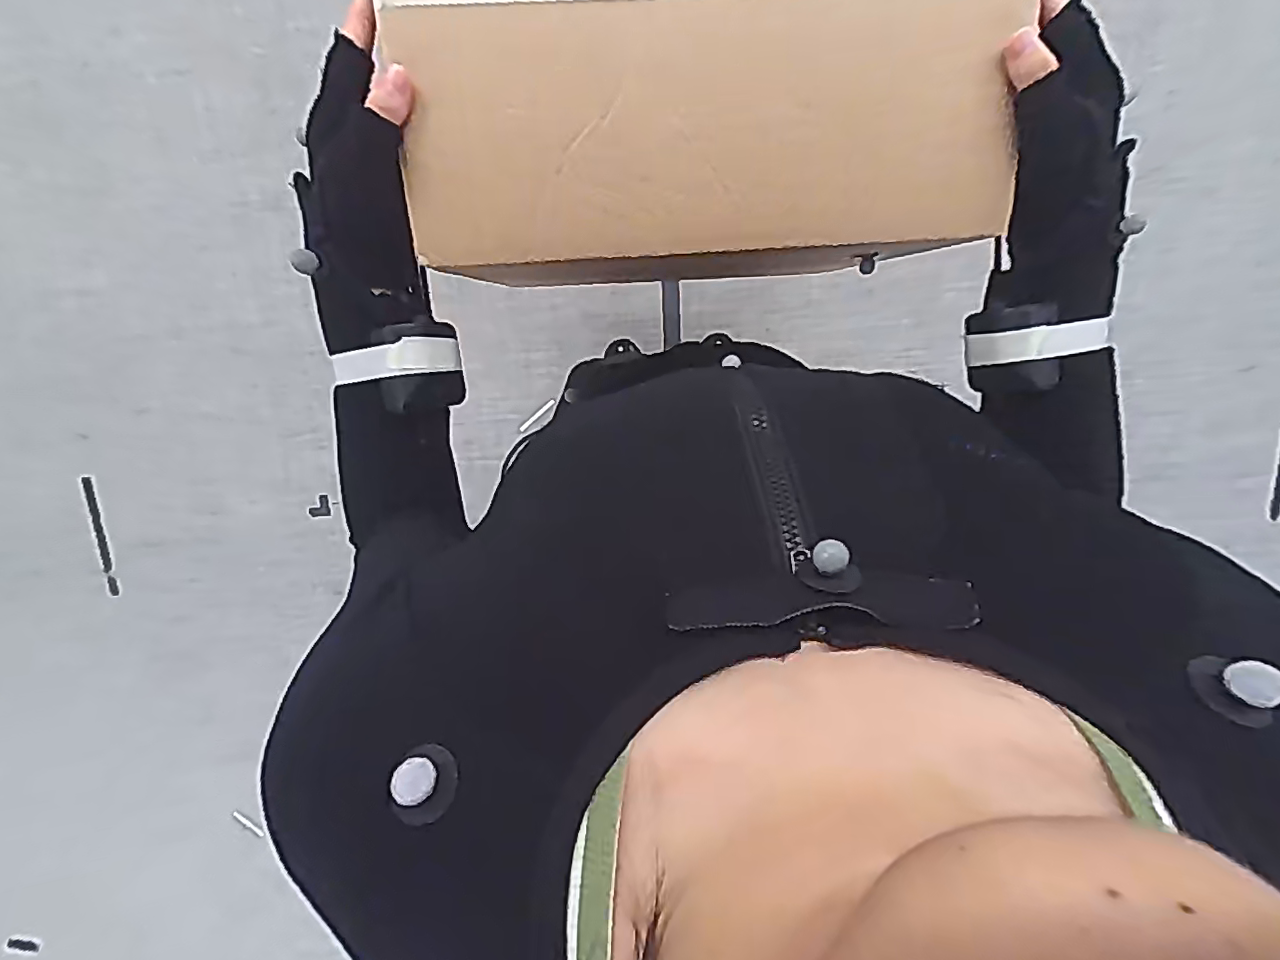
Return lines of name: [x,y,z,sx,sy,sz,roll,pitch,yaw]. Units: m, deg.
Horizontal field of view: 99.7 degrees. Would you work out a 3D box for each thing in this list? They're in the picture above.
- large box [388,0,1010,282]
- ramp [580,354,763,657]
large box: [0.037,-0.355,0.480,0.408,0.320,0.320,-4,107,-1]
ramp: [0.114,0.132,1.629,0.509,0.206,0.991,-5,104,1]
